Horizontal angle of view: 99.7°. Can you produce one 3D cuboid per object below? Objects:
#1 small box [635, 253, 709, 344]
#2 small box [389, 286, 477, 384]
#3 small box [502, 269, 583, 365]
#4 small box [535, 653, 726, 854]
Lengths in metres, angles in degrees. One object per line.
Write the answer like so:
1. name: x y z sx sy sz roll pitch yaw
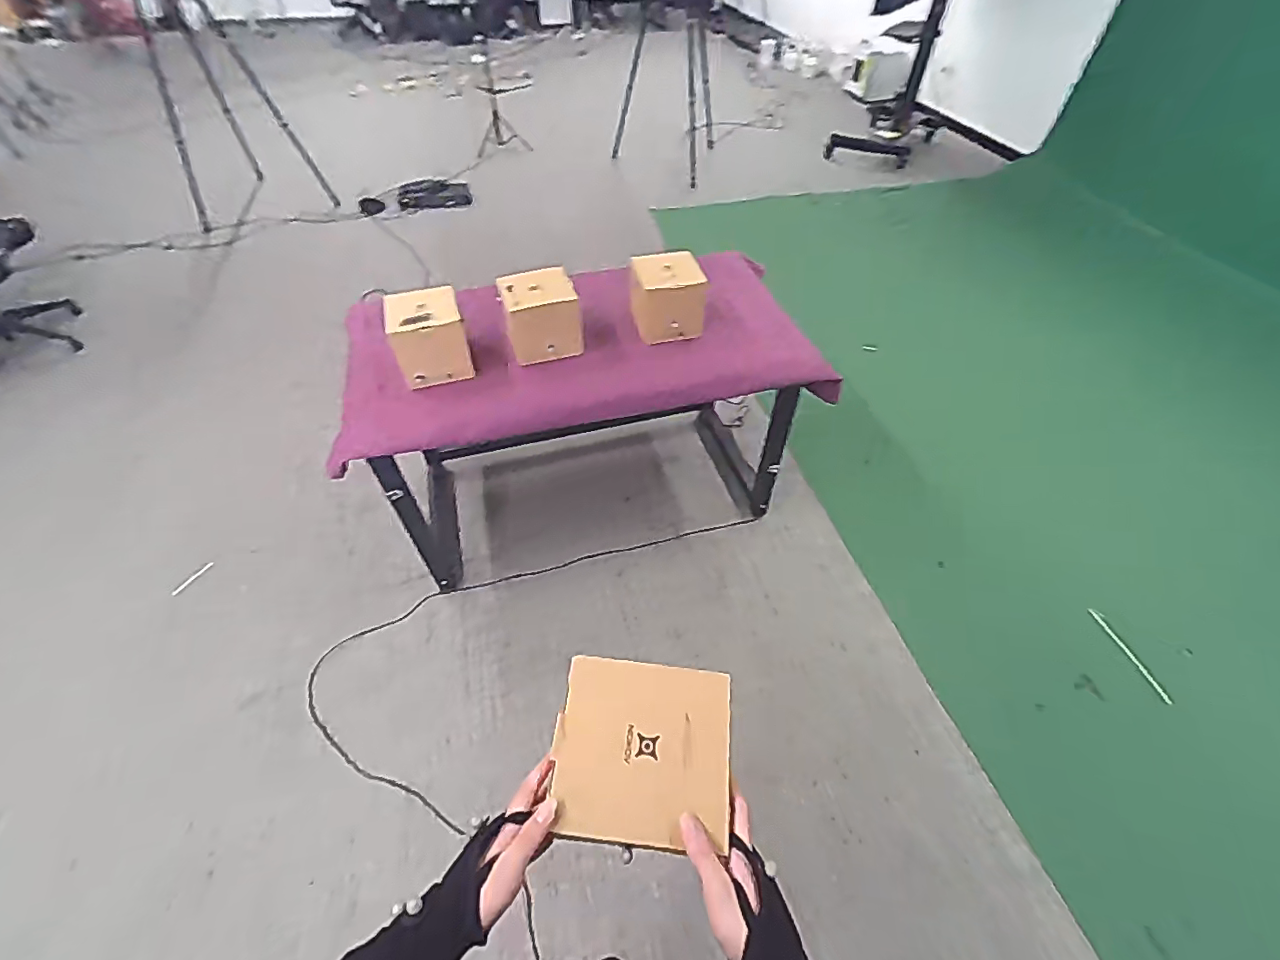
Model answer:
1. small box: 0.081 -0.498 1.487 0.168 0.176 0.179 -10 50 -8
2. small box: -0.519 -0.359 1.364 0.168 0.176 0.179 -14 50 -12
3. small box: -0.252 -0.427 1.425 0.179 0.176 0.168 -14 51 -13
4. small box: -0.006 0.310 0.605 0.179 0.176 0.168 7 55 1
